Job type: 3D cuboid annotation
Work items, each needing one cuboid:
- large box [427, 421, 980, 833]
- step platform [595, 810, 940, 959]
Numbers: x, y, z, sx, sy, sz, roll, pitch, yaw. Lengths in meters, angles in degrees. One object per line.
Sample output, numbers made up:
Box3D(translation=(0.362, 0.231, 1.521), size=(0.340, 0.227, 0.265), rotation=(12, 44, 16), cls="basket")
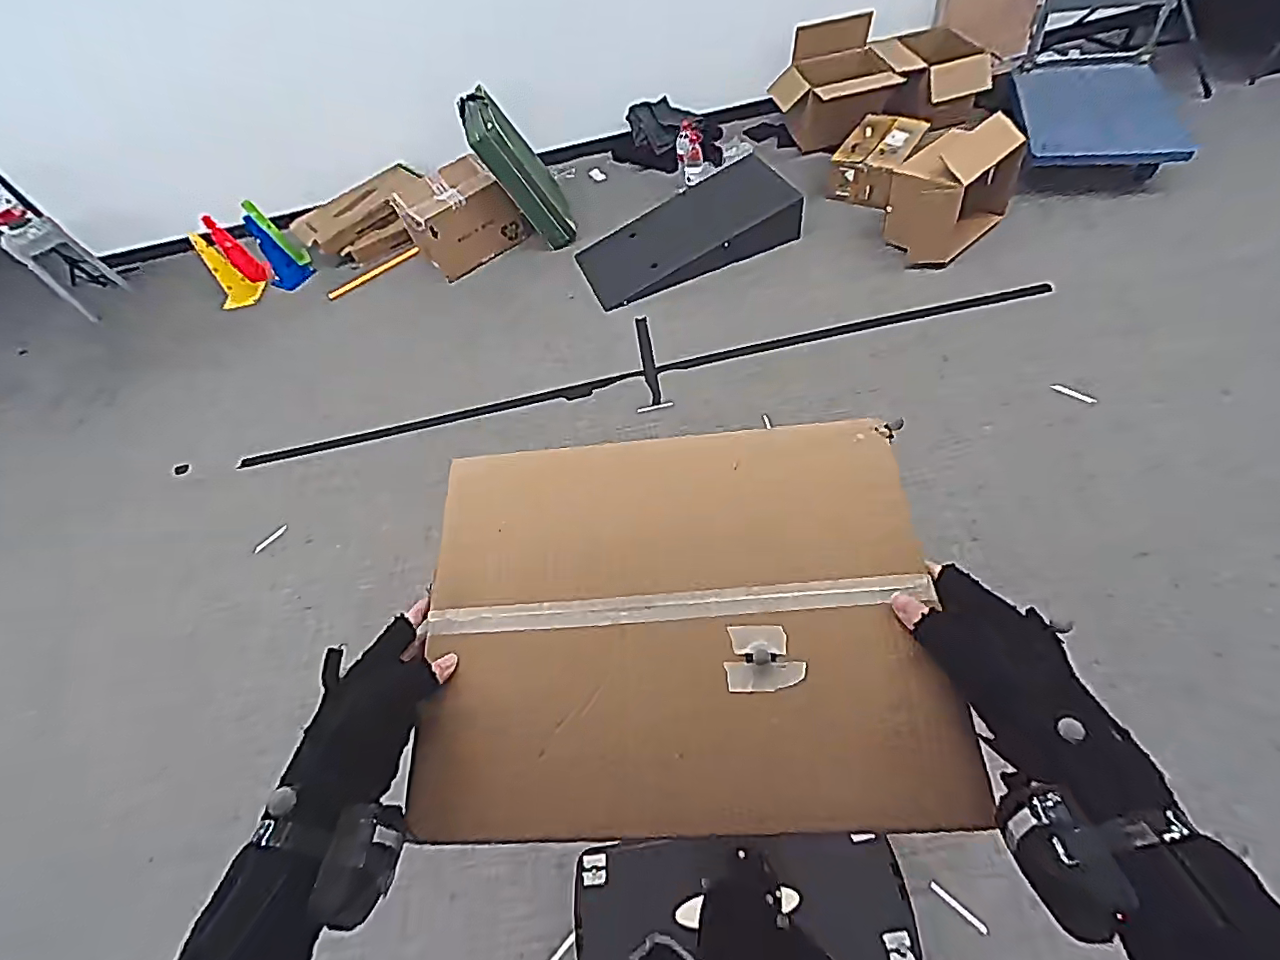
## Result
Box3D(translation=(0.046, 0.167, 0.580), size=(0.408, 0.320, 0.320), rotation=(-5, 64, 5), cls="large box")
Box3D(translation=(0.247, 0.889, 1.155), size=(0.684, 0.204, 0.286), rotation=(-12, 55, 2), cls="step platform")
